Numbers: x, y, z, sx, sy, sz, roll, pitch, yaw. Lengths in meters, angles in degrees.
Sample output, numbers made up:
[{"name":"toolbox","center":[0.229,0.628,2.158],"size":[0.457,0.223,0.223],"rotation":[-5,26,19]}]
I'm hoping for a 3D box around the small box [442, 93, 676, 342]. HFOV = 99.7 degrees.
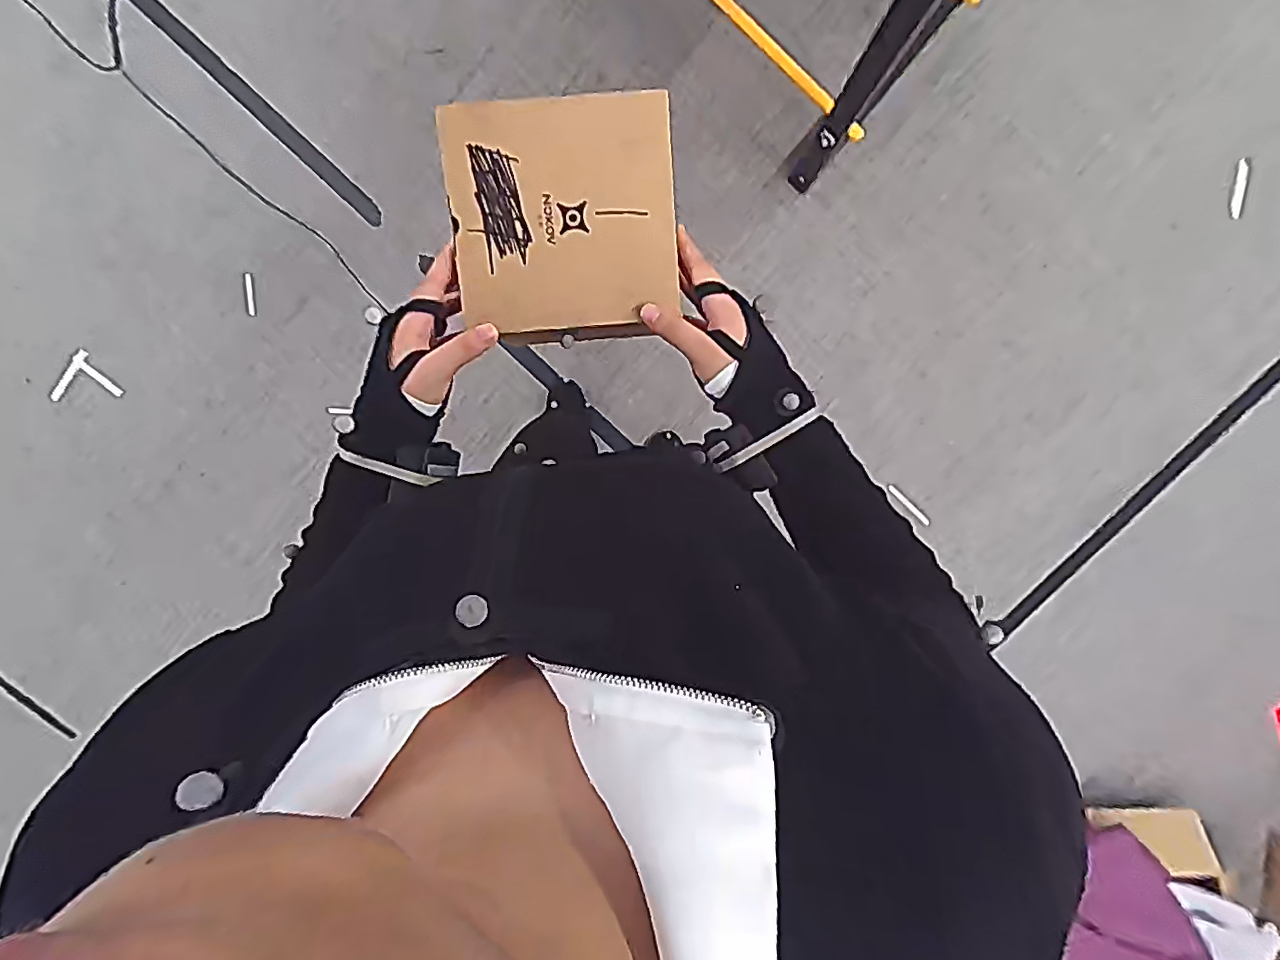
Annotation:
[{"name":"small box","center":[-0.060,-0.223,0.504],"size":[0.179,0.176,0.168],"rotation":[-4,101,1]}]
